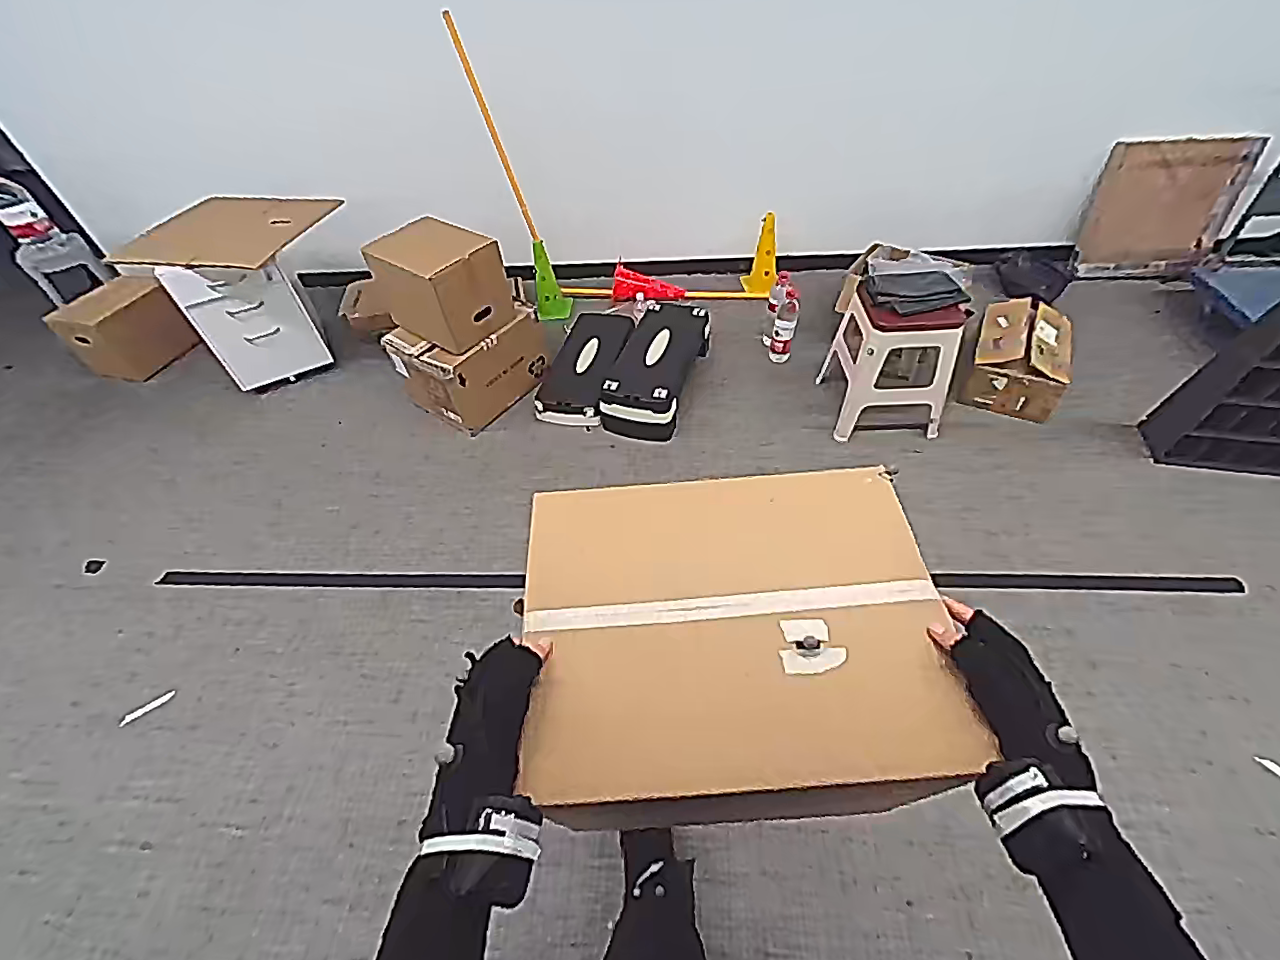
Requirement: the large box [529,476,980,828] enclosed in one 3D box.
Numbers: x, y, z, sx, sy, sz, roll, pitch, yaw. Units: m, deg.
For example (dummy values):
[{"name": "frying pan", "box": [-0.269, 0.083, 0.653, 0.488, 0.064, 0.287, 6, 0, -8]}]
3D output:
[{"name": "large box", "box": [0.095, 0.222, 0.673, 0.408, 0.320, 0.320, -5, 54, 0]}]
